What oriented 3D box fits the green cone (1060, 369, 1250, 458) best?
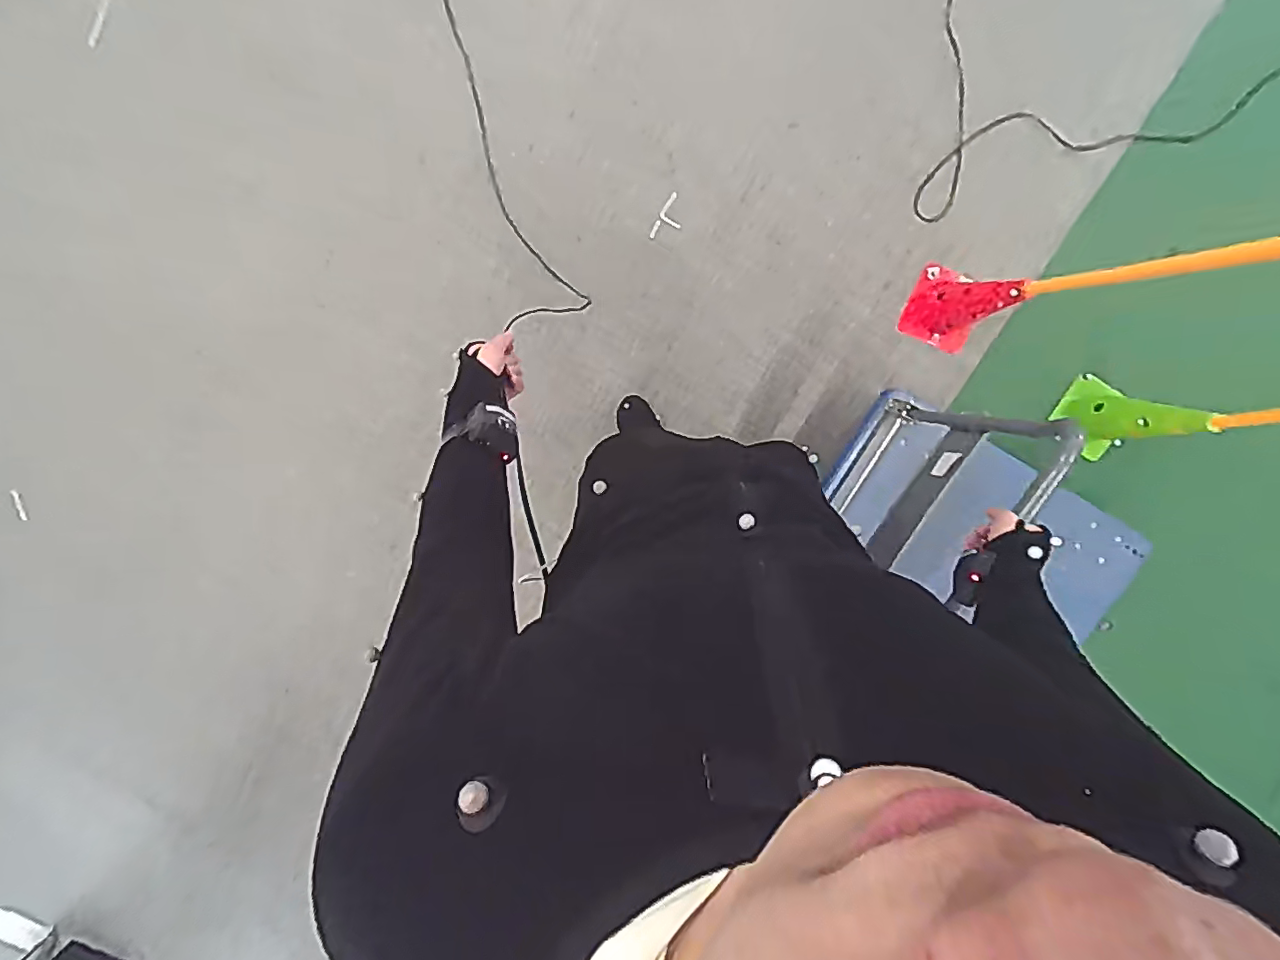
[{"bbox_3d":[1.322,-0.157,1.368,0.202,0.368,0.200,29,99,-5],"label":"green cone"}]
